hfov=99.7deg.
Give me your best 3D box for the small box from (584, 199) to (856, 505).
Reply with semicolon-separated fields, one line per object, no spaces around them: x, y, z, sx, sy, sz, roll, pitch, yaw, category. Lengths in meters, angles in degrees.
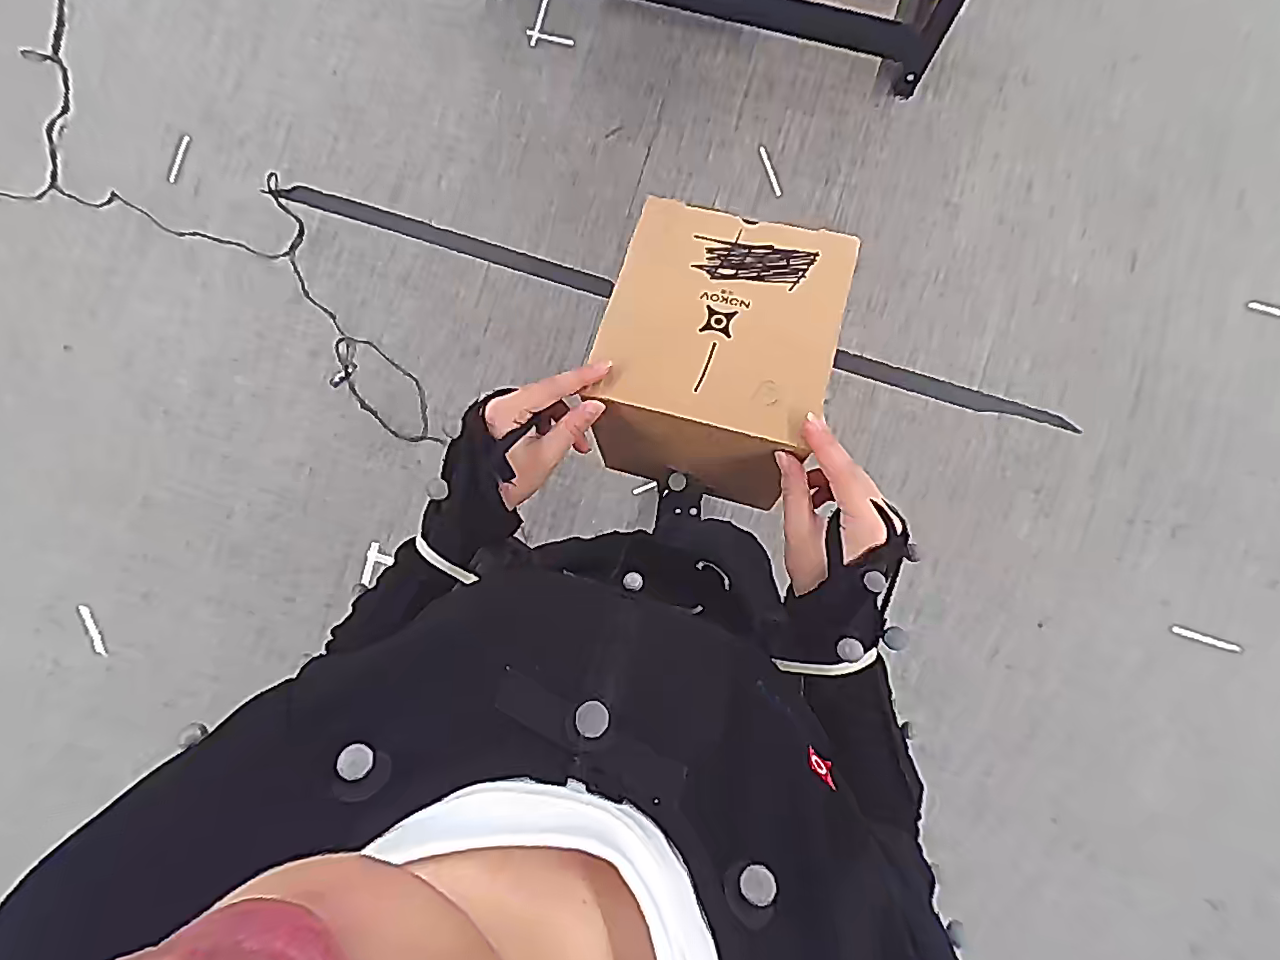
0.065;-0.097;0.468;0.168;0.176;0.179;15;75;8;small box
